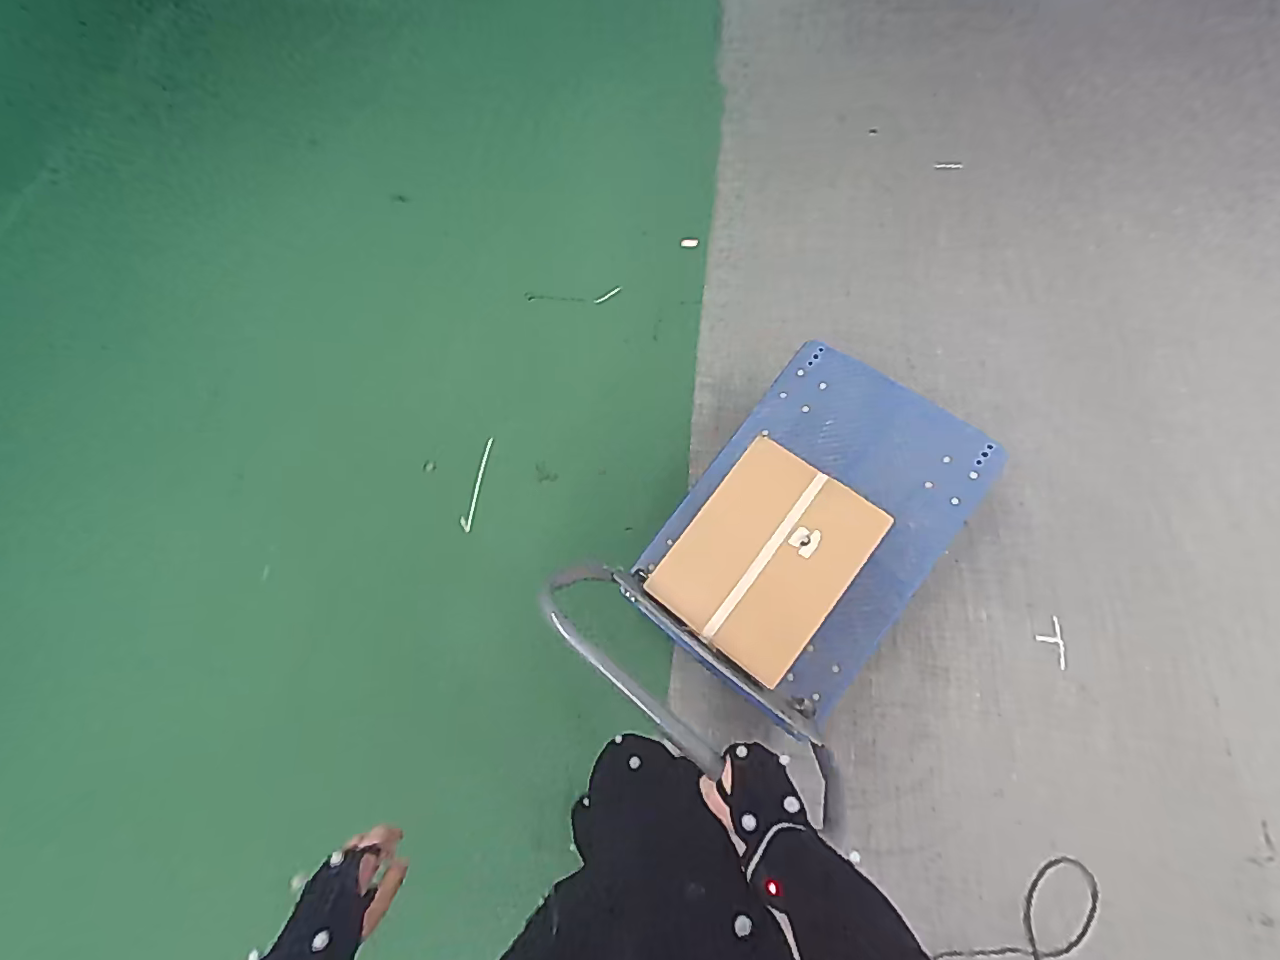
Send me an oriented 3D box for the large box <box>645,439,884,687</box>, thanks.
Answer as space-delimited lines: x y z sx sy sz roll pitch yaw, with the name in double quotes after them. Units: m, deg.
0.266 0.194 1.212 0.320 0.320 0.408 36 82 17 "large box"
